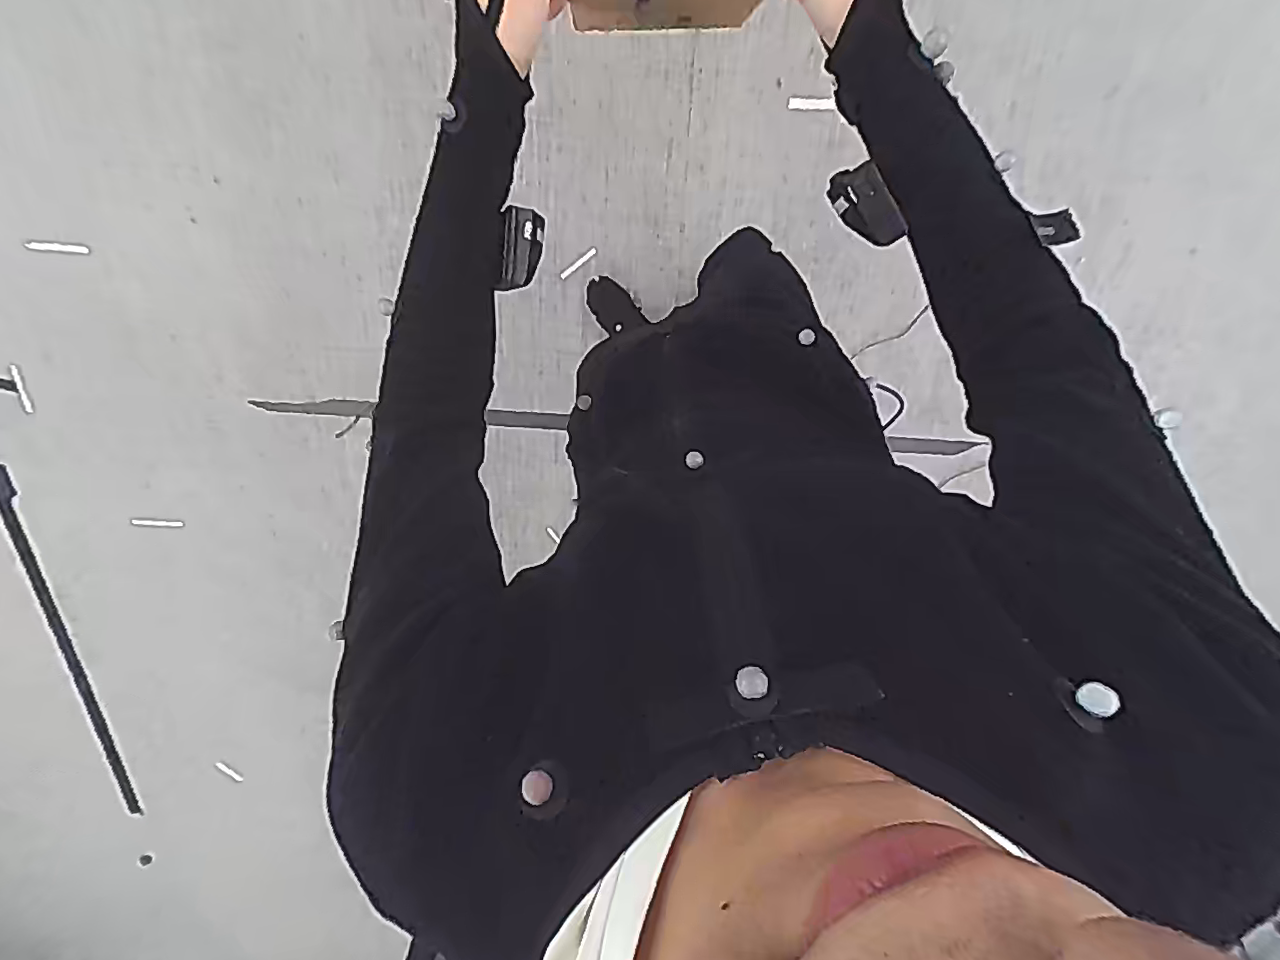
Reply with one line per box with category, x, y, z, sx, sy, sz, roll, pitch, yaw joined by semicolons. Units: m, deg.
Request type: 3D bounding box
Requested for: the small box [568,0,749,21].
small box;0.018;-0.468;0.398;0.168;0.176;0.179;-3;116;-3
